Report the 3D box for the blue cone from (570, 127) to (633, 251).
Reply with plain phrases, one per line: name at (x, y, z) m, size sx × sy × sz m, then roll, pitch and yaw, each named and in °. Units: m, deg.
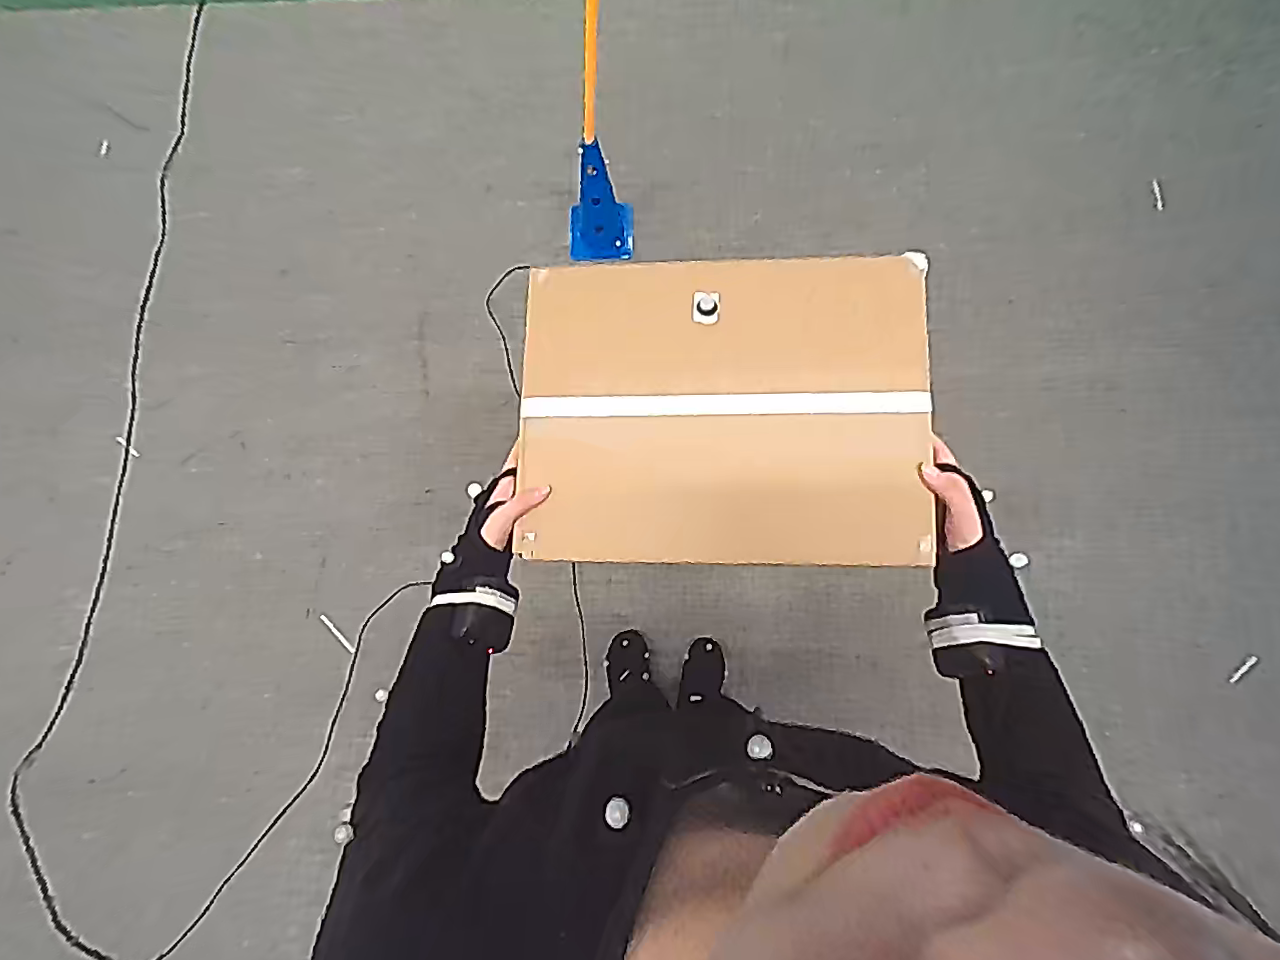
blue cone at (-0.122, -0.836, 1.527) m, size 0.193 × 0.380 × 0.192 m, roll -3°, pitch 79°, yaw -1°
